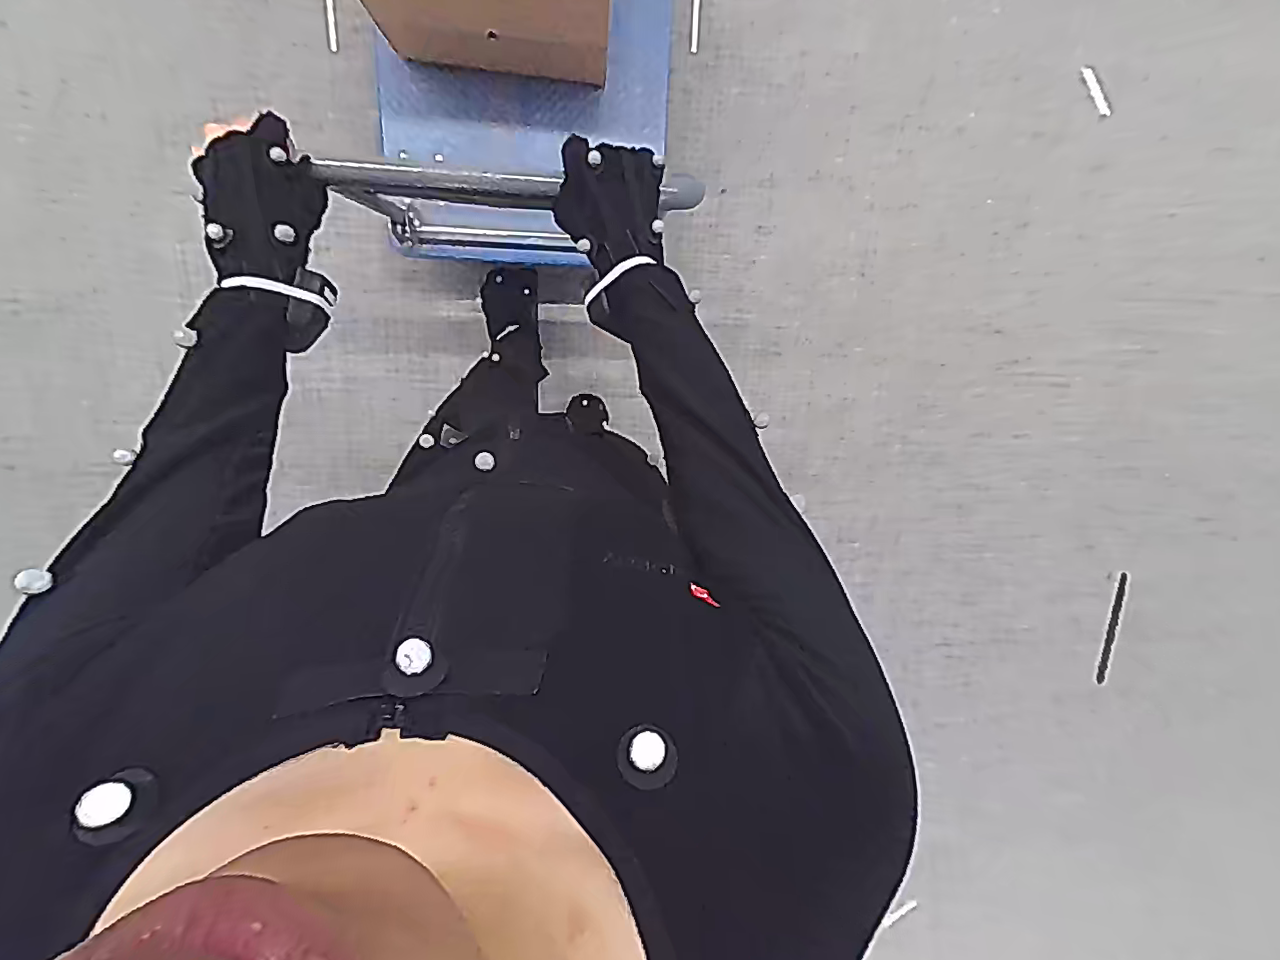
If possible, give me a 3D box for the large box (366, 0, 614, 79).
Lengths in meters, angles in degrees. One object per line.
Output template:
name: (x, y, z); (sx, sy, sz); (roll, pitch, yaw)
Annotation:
large box: (-0.241, -0.926, 0.903); (0.408, 0.320, 0.320); (3, 104, -5)
